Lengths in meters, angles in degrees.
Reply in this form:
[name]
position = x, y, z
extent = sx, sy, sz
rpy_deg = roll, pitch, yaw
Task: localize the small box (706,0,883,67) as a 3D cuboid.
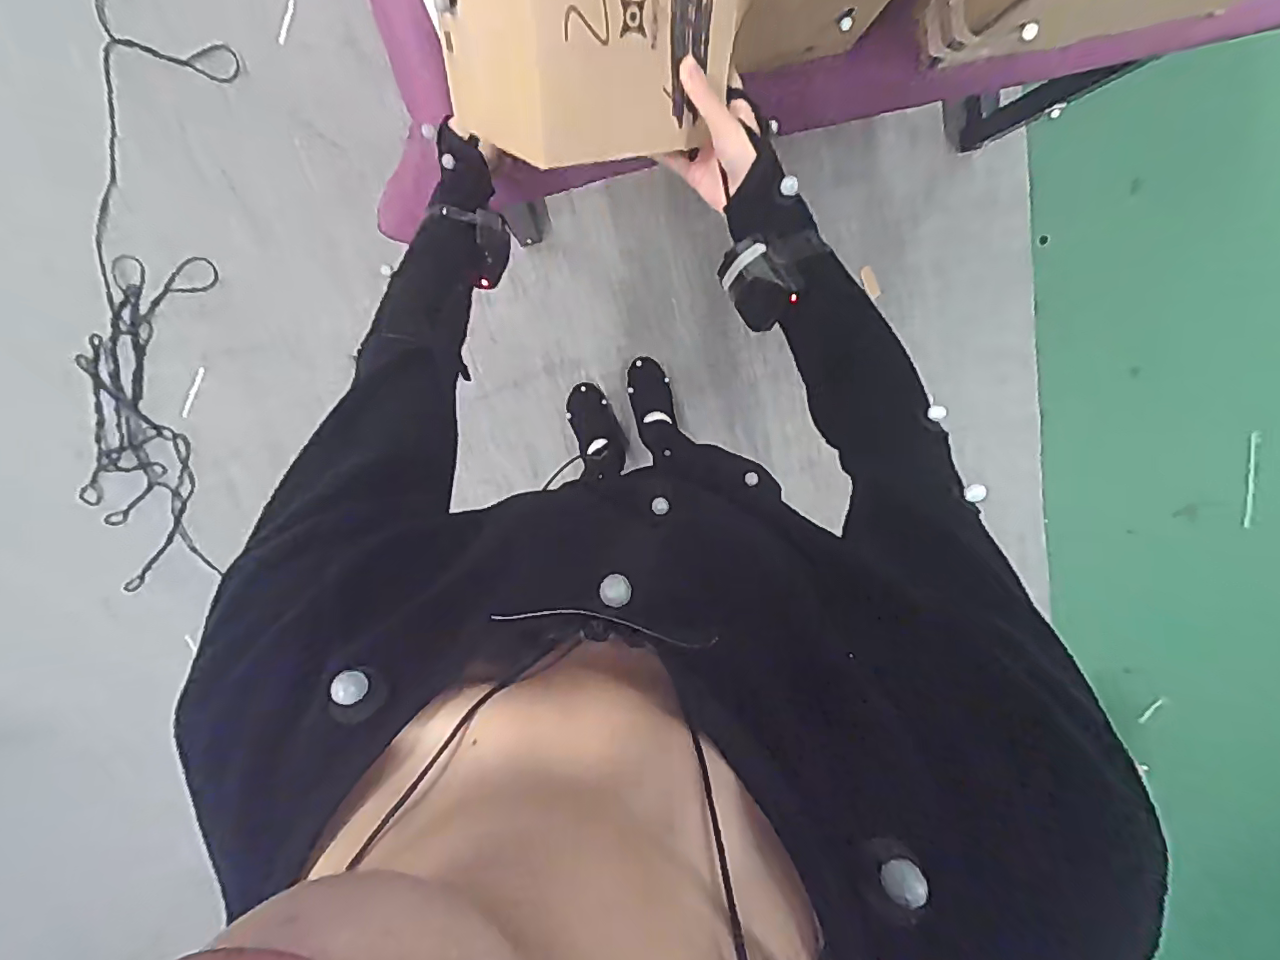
[small box]
position = 0.162, -0.559, 0.549
extent = 0.168, 0.176, 0.179
rpy_deg = -12, 104, -2
